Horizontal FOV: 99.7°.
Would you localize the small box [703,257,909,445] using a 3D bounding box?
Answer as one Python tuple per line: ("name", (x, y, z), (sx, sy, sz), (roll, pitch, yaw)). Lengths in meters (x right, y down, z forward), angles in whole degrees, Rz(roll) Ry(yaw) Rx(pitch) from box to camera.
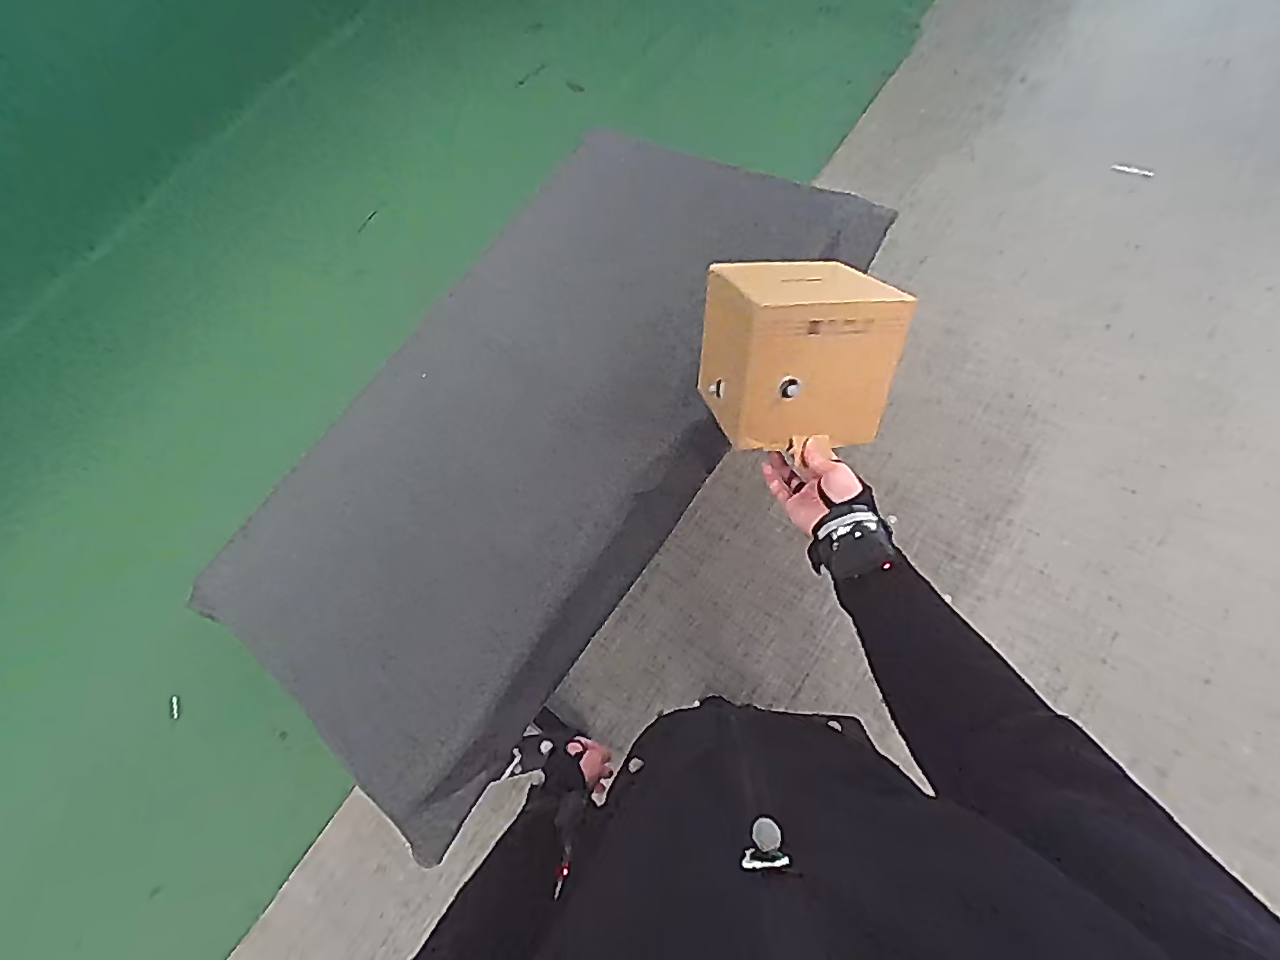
("small box", (0.184, -0.157, 0.635), (0.168, 0.176, 0.179), (-1, 35, -11))
